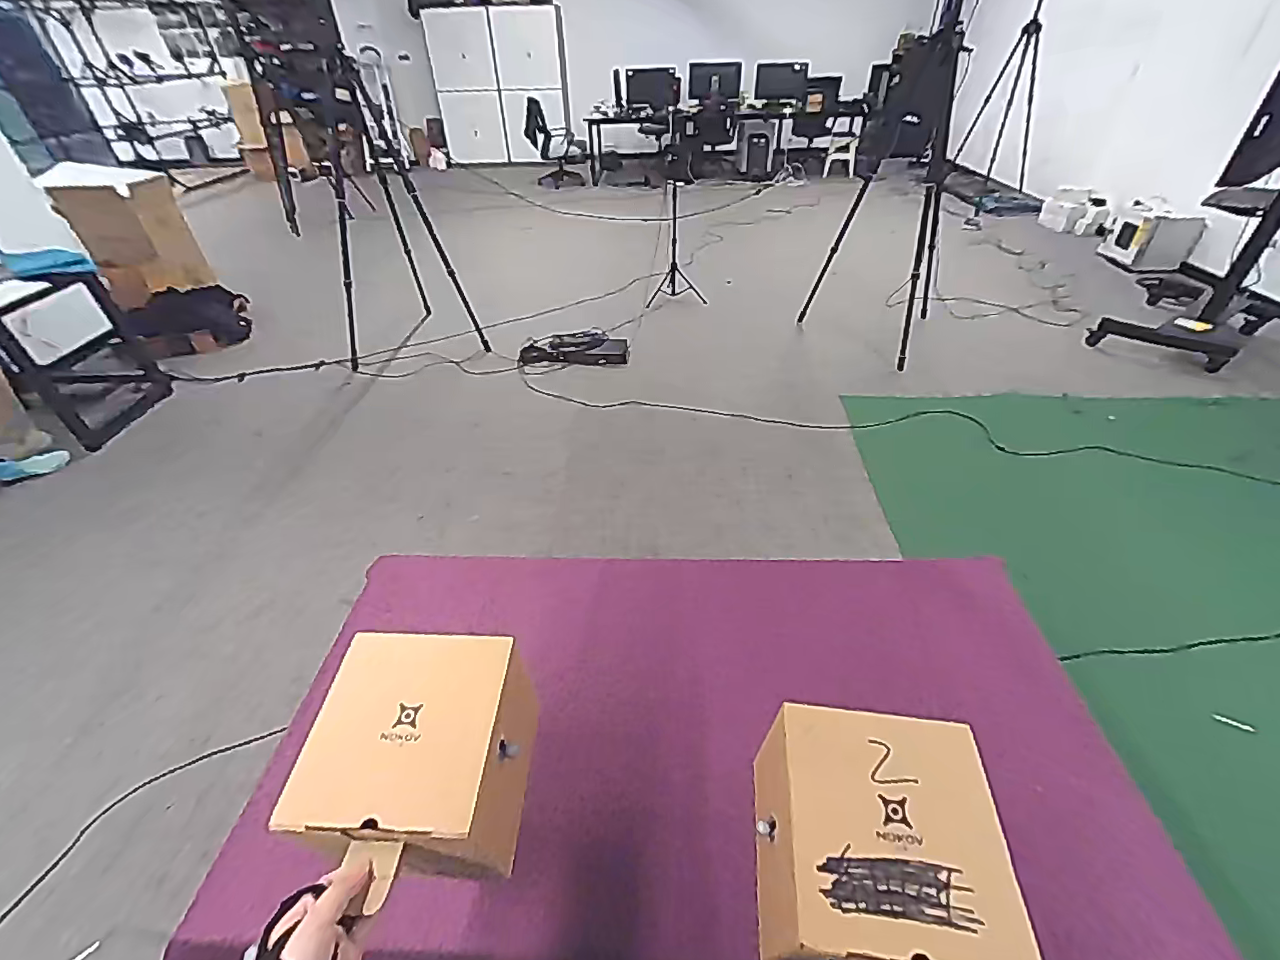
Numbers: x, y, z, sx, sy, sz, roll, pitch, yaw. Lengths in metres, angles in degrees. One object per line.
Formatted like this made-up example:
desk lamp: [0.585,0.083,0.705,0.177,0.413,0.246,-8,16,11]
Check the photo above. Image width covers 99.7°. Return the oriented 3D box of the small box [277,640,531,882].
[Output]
small box: [-0.215,0.287,0.556,0.168,0.176,0.179,1,45,2]
